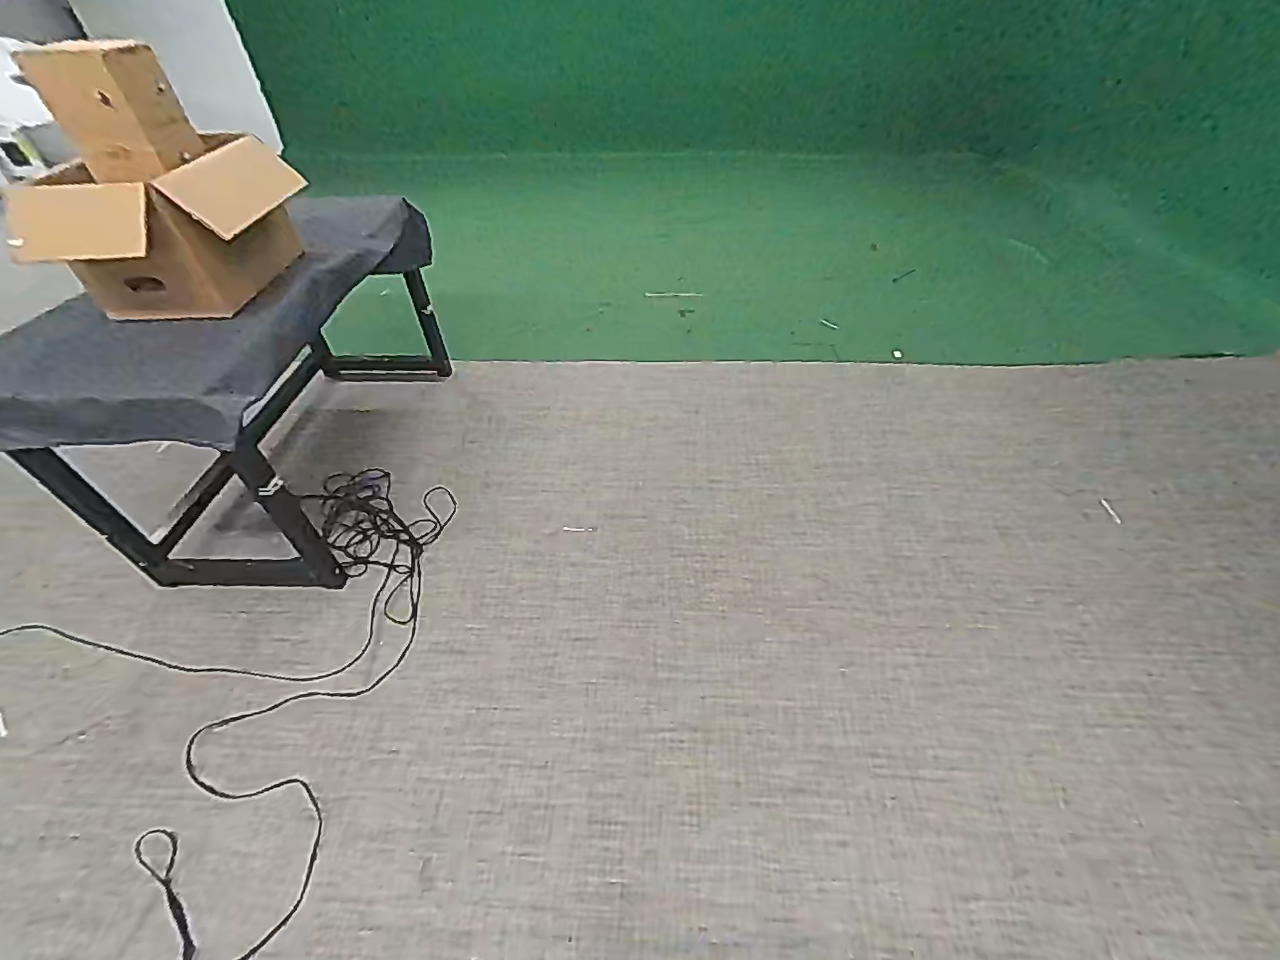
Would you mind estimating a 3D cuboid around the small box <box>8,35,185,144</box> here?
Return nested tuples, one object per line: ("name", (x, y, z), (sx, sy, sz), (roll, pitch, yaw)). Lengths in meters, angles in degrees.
("small box", (-1.152, -0.844, 1.169), (0.179, 0.176, 0.168), (-3, 44, -1))
